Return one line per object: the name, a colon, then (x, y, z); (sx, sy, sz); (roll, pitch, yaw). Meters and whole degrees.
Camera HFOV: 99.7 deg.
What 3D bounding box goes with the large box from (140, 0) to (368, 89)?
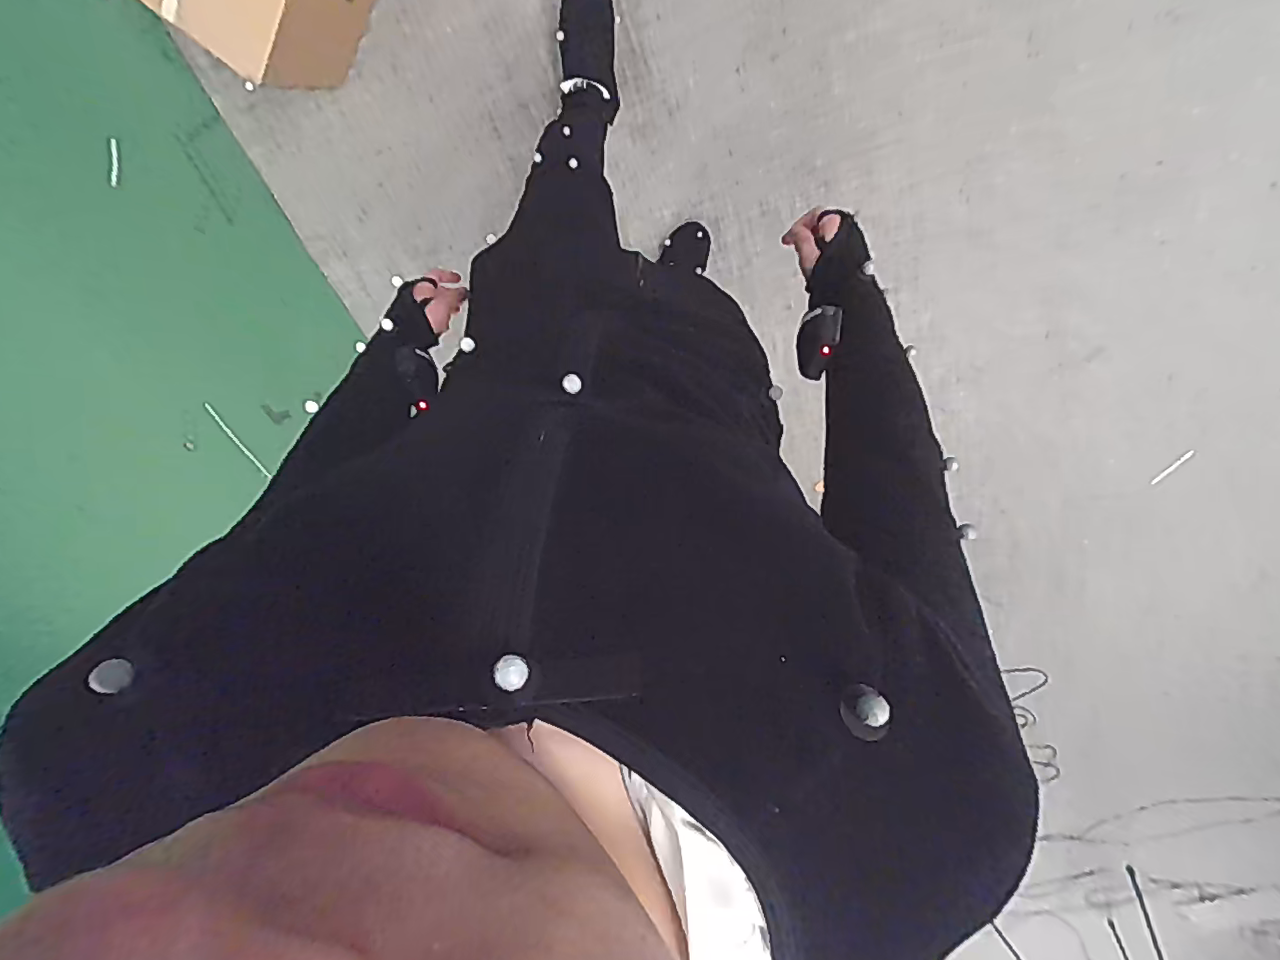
large box: (-0.691, -1.010, 0.968); (0.320, 0.320, 0.408); (34, 121, -19)
